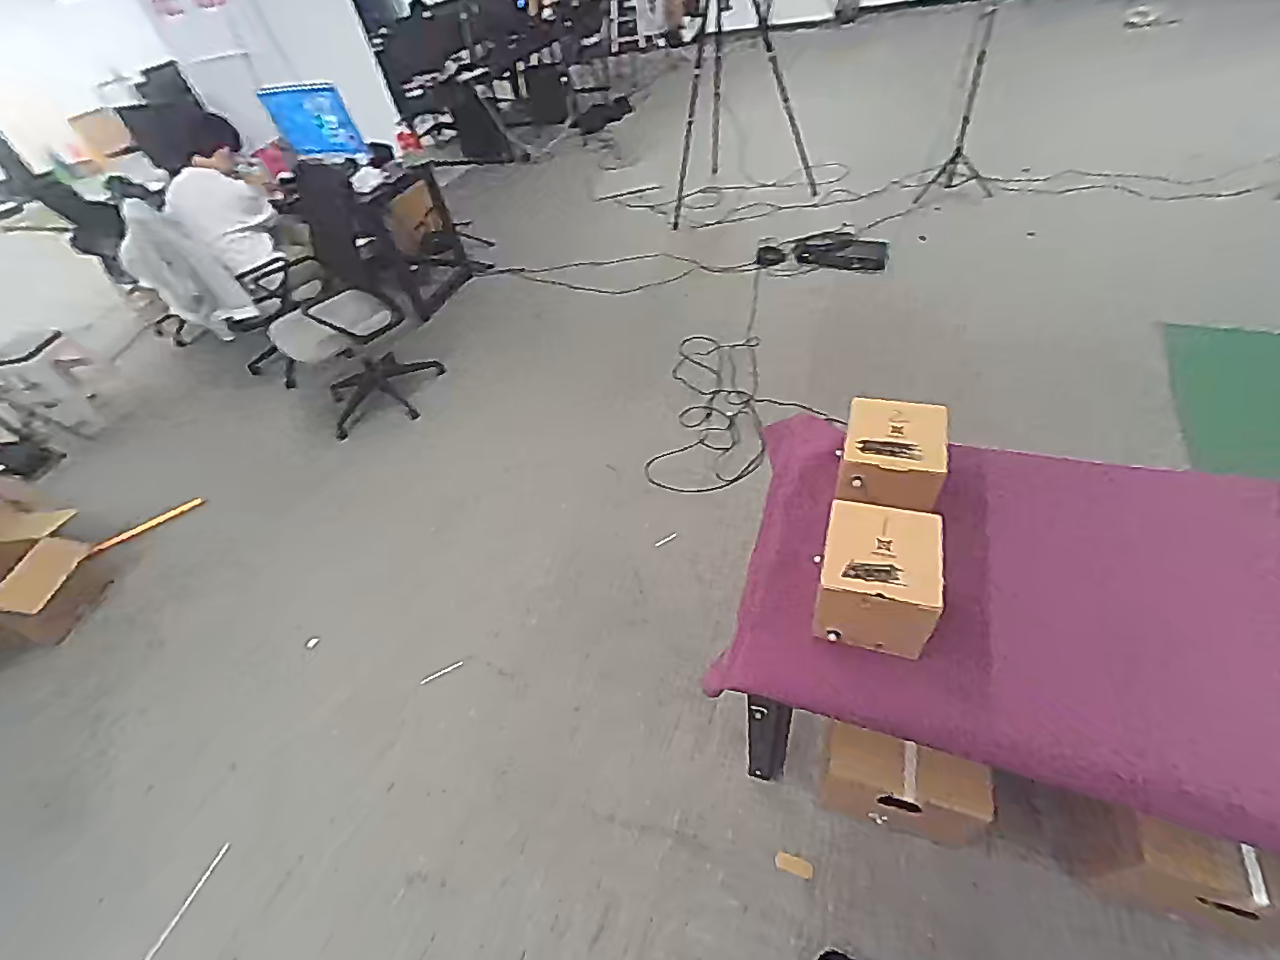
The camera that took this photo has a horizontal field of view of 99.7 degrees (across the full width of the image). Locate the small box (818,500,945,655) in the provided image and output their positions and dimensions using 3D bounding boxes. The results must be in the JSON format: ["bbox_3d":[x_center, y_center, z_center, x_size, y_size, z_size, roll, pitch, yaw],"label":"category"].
[{"bbox_3d":[0.391,0.161,0.889,0.168,0.176,0.179,9,49,19],"label":"small box"}]

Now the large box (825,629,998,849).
[{"bbox_3d":[0.643,0.609,1.333,0.320,0.320,0.408,9,49,19],"label":"large box"}]
